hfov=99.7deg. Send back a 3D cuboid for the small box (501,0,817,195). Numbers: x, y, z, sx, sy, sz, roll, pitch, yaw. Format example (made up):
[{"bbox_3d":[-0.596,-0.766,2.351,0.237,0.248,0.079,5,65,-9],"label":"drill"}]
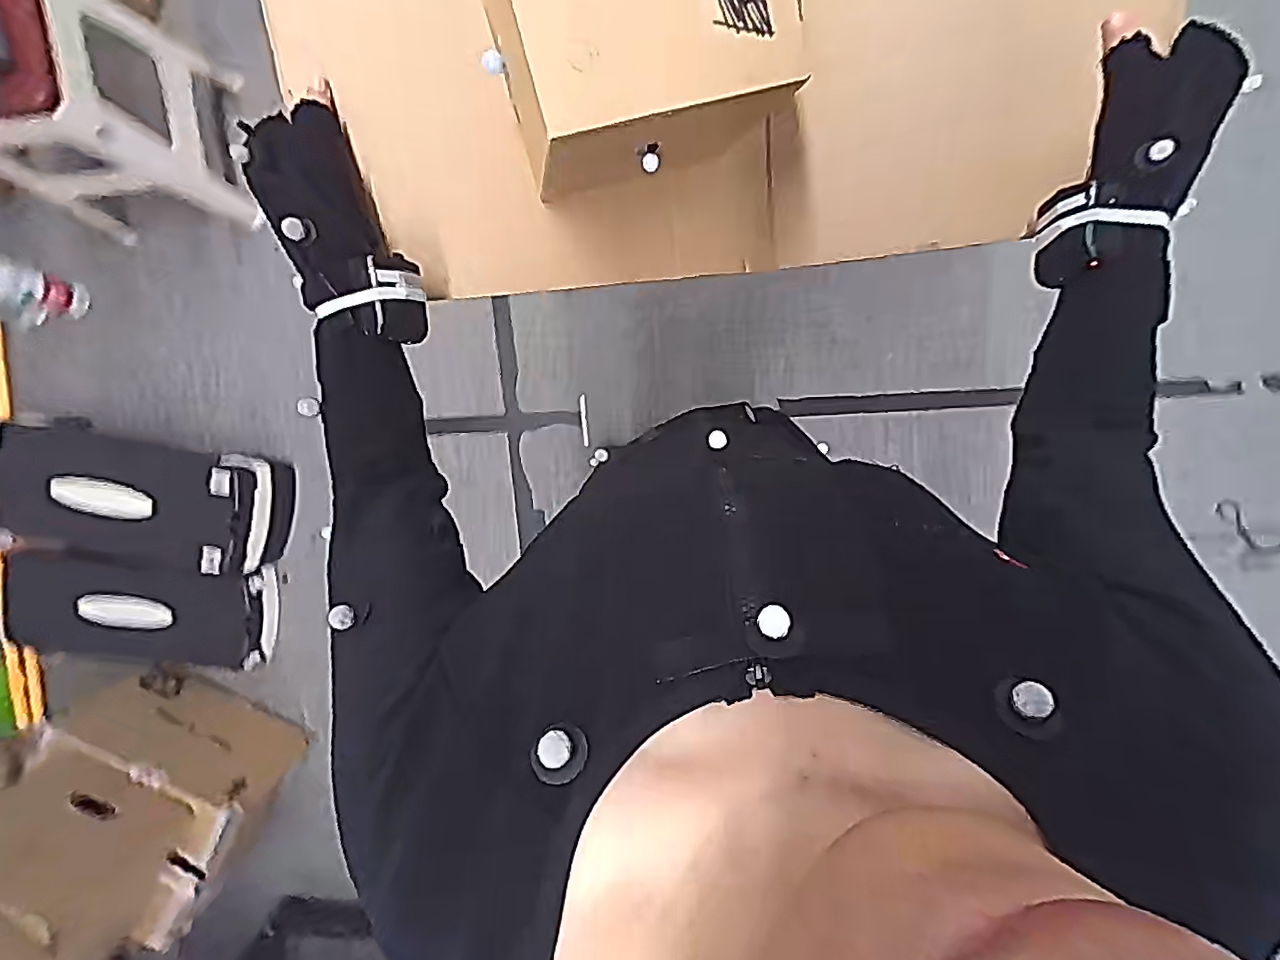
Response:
[{"bbox_3d":[0.001,-0.329,0.396,0.179,0.176,0.168,-16,108,-7],"label":"small box"}]
